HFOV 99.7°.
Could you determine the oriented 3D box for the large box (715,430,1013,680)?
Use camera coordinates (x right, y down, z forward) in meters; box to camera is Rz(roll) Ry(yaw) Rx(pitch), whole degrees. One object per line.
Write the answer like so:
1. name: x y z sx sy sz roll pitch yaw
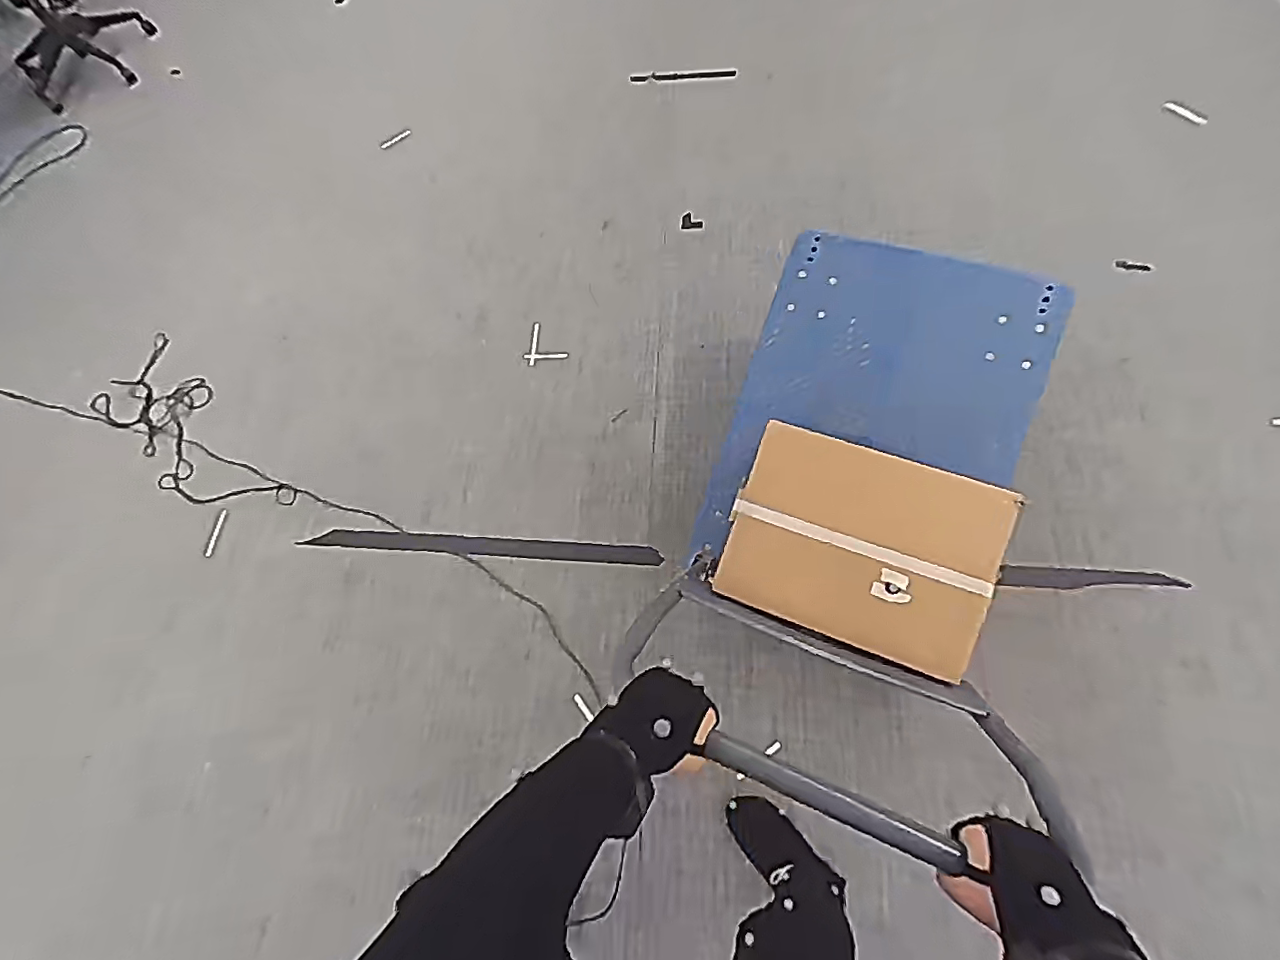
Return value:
1. large box: 0.390 0.125 1.039 0.408 0.320 0.320 19 91 14
